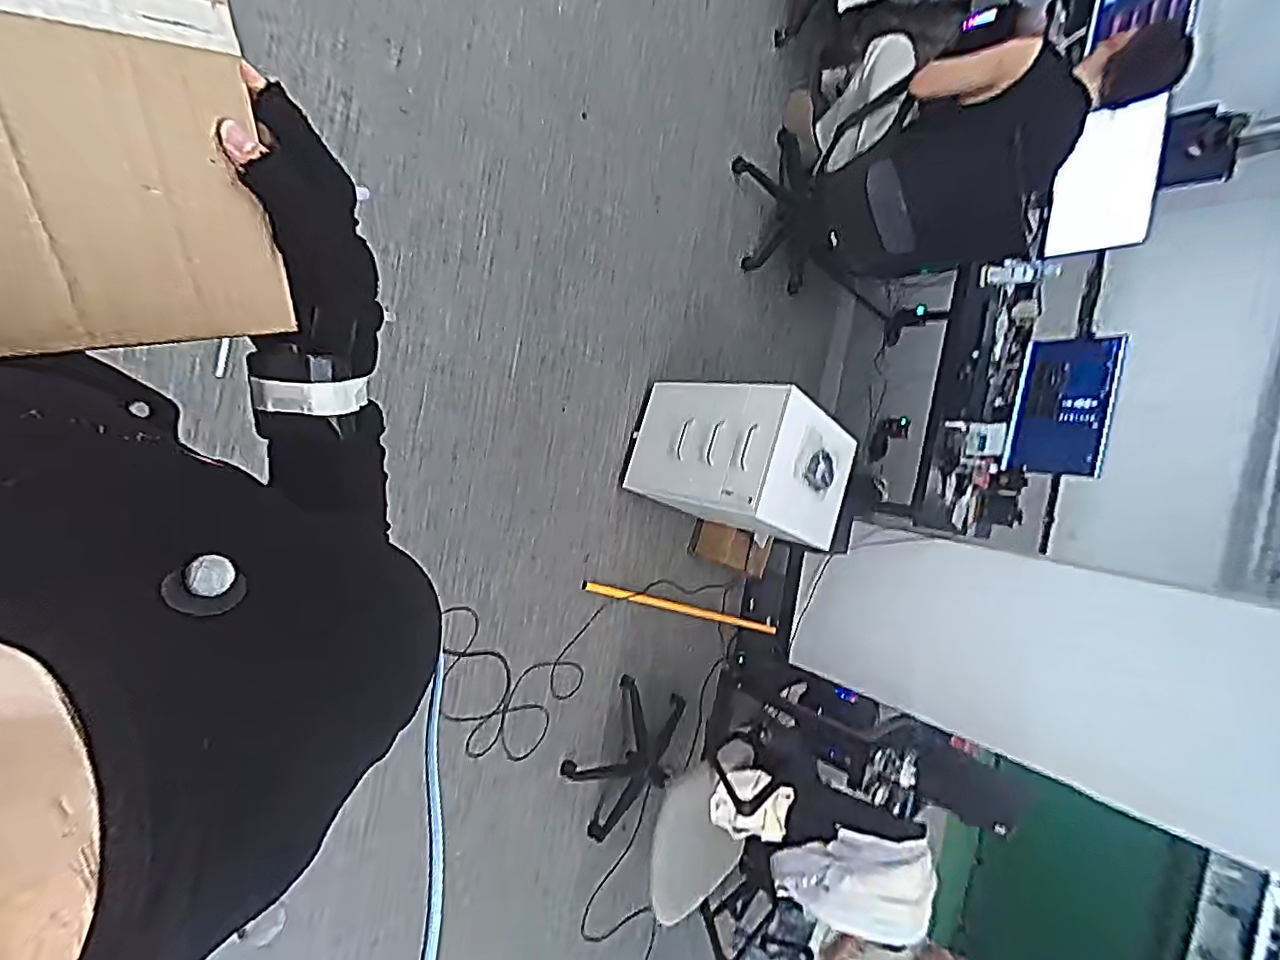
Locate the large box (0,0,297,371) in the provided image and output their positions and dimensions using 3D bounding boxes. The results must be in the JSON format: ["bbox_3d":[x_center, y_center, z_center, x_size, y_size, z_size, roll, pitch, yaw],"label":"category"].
[{"bbox_3d":[-0.470,-0.229,0.265,0.408,0.320,0.320,-22,128,-40],"label":"large box"}]
